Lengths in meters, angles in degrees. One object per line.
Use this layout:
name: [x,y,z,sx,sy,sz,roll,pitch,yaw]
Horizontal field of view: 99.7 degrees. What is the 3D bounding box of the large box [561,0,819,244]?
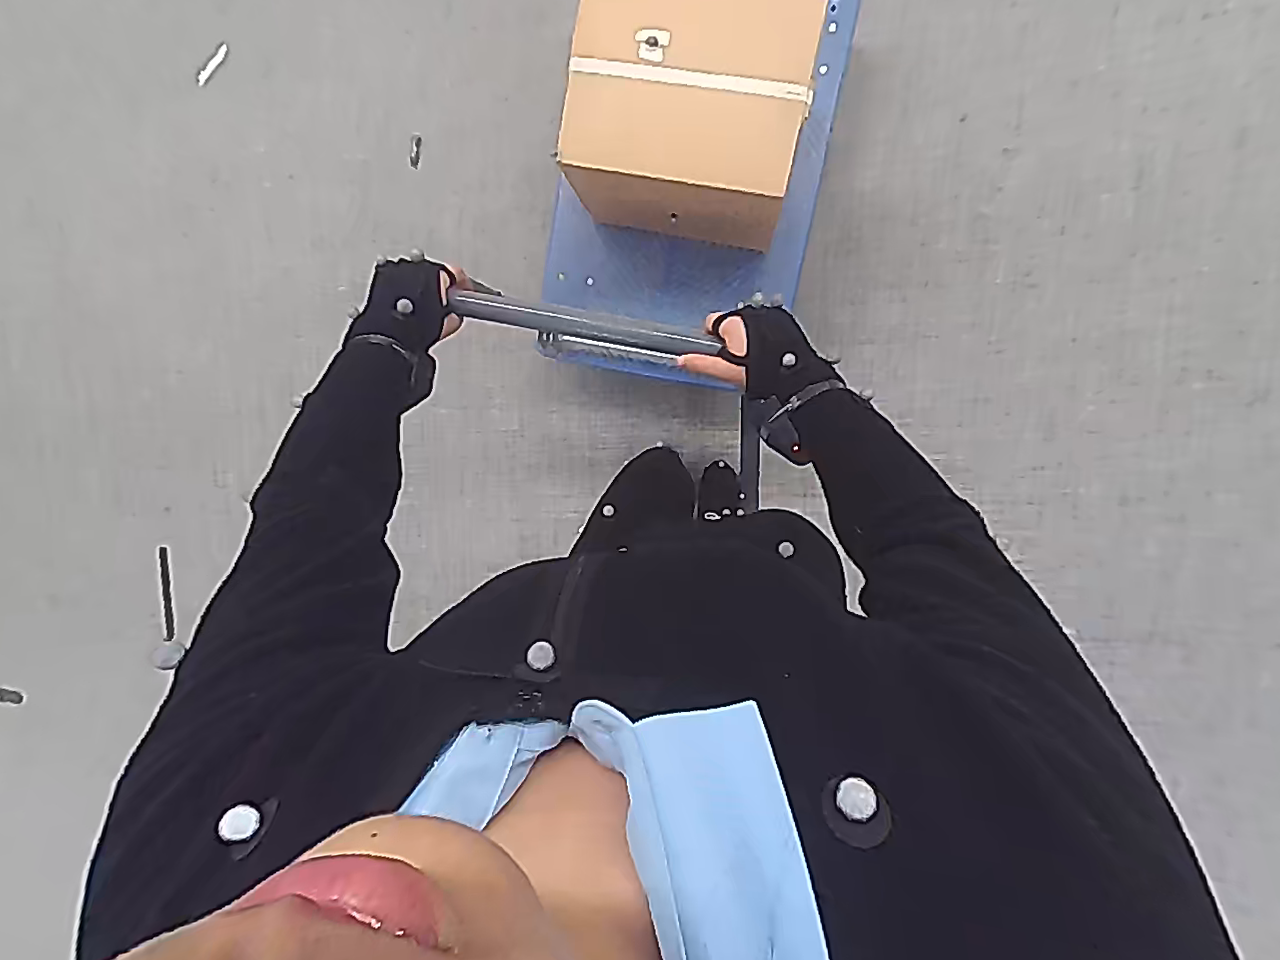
large box: [0.100,-0.691,1.070,0.408,0.320,0.320,12,98,7]
